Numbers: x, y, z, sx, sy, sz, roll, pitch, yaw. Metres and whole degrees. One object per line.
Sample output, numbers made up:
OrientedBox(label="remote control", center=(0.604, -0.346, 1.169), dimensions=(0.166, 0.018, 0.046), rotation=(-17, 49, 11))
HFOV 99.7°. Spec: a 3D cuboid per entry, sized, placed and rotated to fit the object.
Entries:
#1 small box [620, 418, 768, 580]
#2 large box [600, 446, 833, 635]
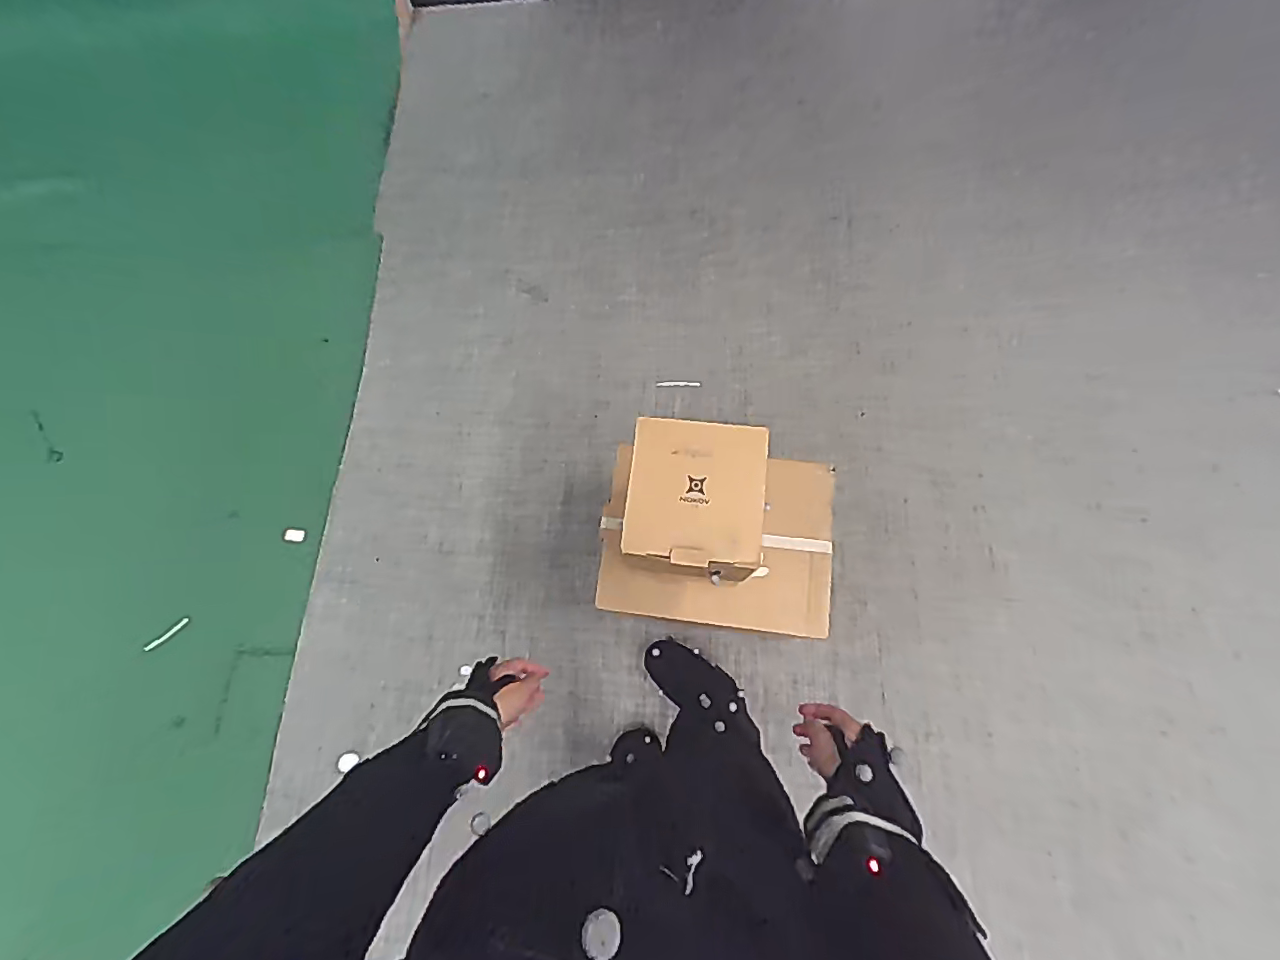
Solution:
OrientedBox(label="small box", center=(0.071, 0.034, 0.723), dimensions=(0.168, 0.176, 0.179), rotation=(5, 74, 5))
OrientedBox(label="large box", center=(0.148, 0.139, 1.111), dimensions=(0.408, 0.320, 0.320), rotation=(6, 75, 5))
